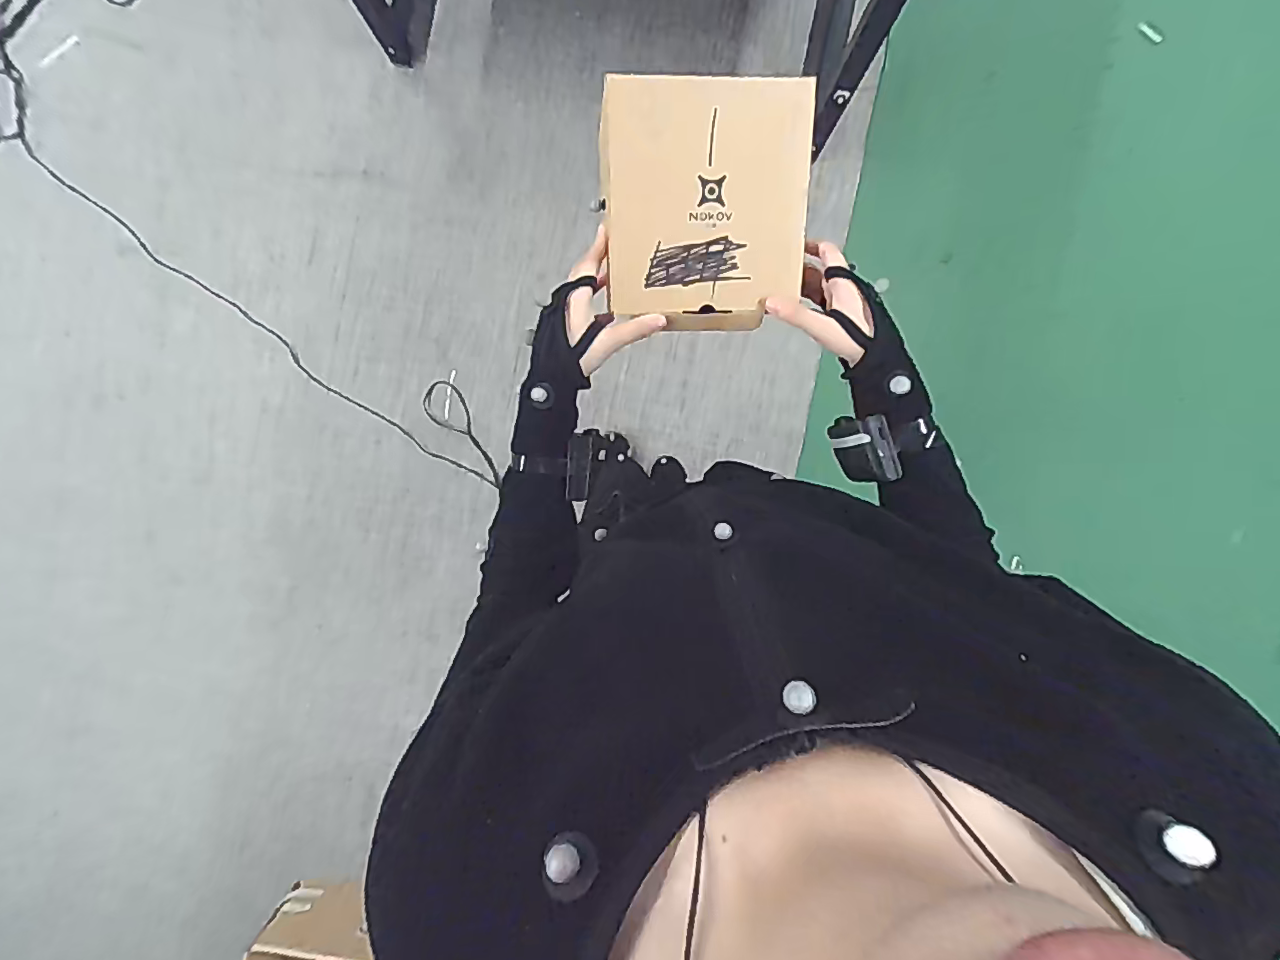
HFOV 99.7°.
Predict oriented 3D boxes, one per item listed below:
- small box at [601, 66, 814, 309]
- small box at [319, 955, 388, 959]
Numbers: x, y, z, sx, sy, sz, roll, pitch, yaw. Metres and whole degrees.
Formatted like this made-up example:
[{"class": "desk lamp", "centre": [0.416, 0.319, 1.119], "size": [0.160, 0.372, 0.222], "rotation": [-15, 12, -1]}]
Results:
[{"class": "small box", "centre": [0.048, -0.259, 0.518], "size": [0.168, 0.176, 0.179], "rotation": [-2, 109, -5]}, {"class": "small box", "centre": [-0.597, 1.088, 1.069], "size": [0.168, 0.176, 0.179], "rotation": [-3, 92, 1]}]
